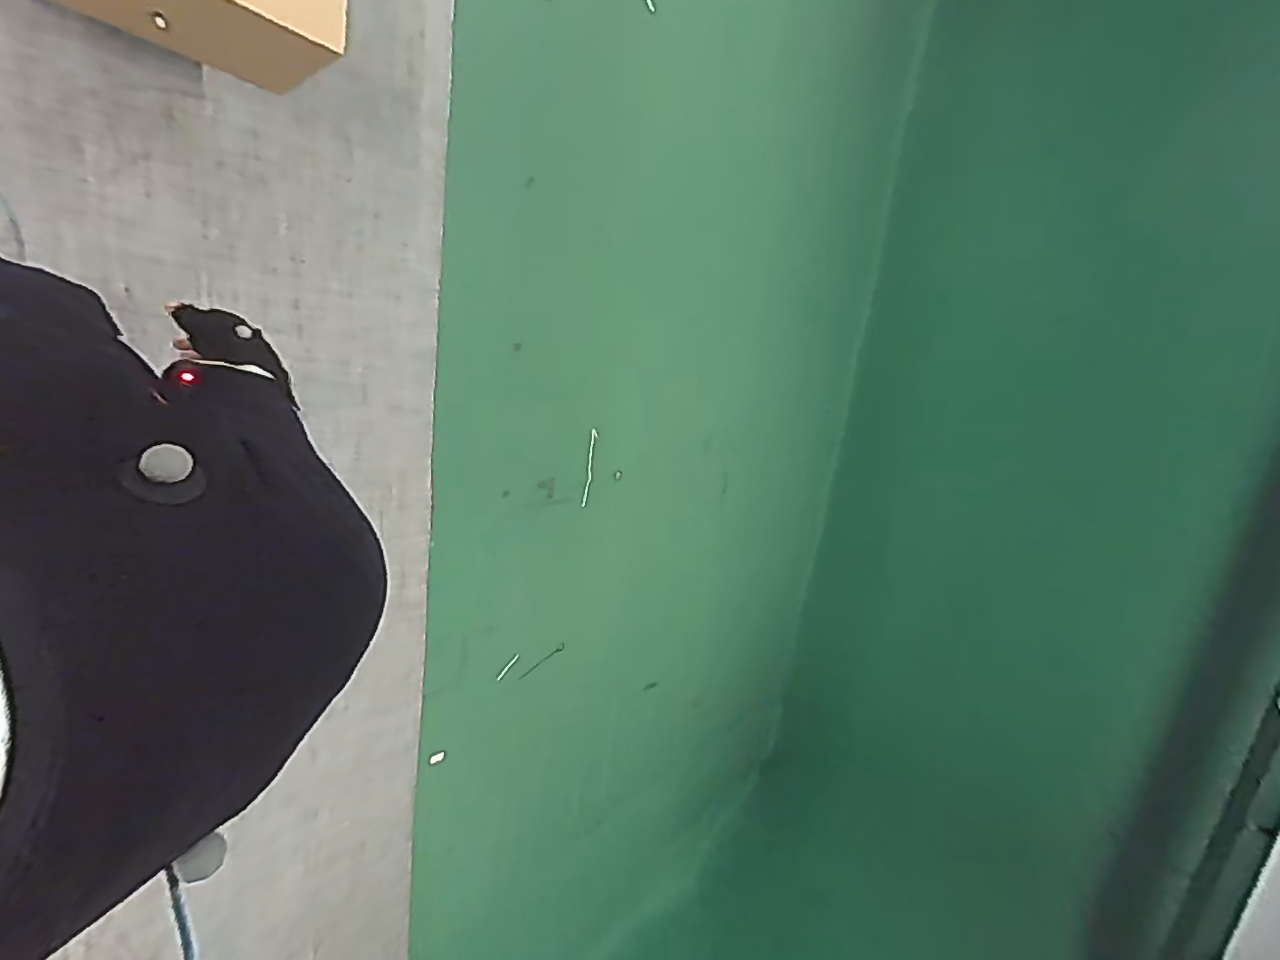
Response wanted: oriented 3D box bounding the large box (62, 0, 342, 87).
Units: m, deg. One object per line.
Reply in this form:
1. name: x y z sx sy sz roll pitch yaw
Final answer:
1. large box: -0.697 -0.853 0.781 0.408 0.320 0.320 -4 107 -48
